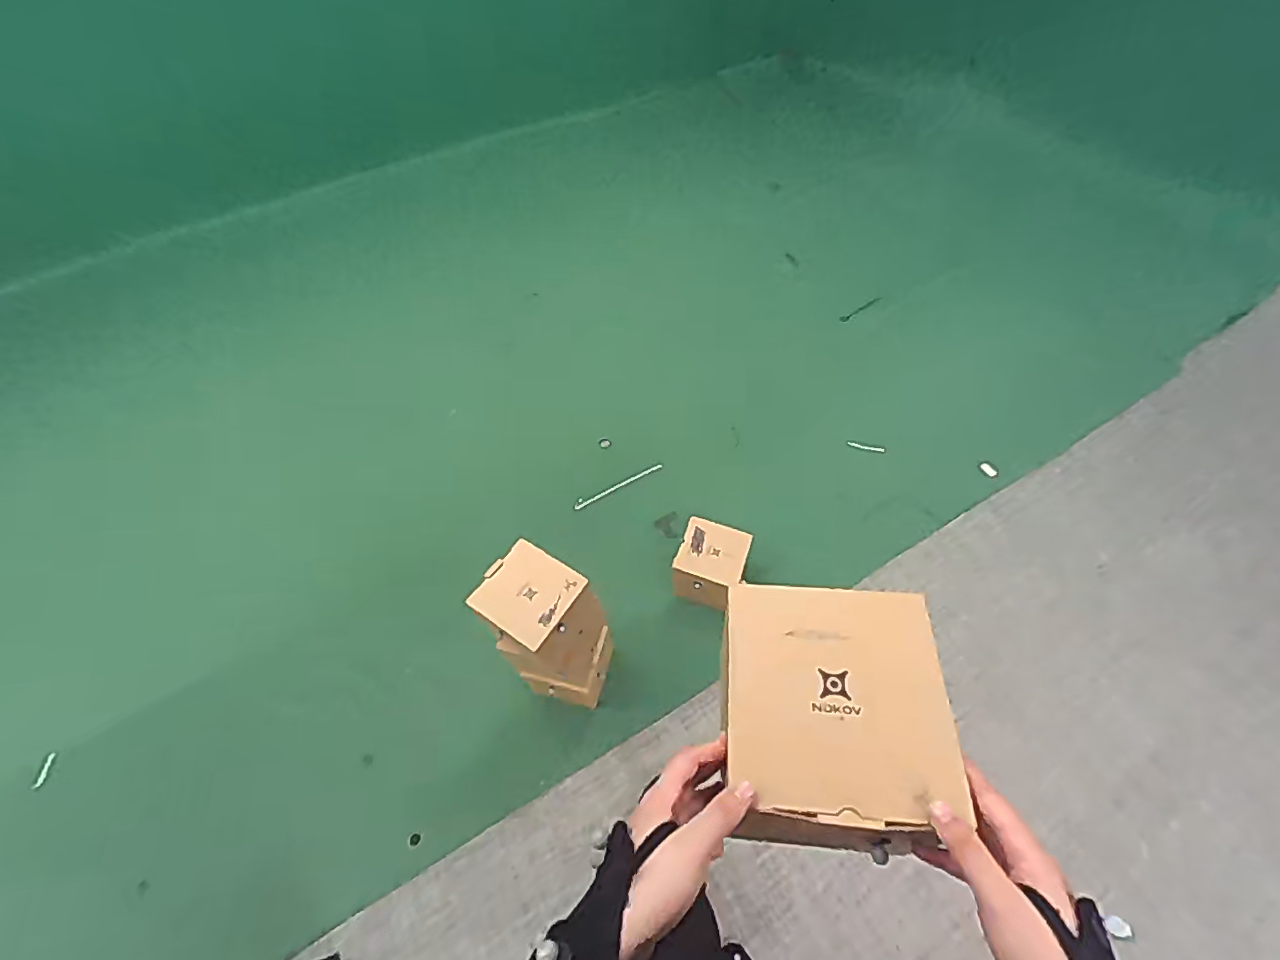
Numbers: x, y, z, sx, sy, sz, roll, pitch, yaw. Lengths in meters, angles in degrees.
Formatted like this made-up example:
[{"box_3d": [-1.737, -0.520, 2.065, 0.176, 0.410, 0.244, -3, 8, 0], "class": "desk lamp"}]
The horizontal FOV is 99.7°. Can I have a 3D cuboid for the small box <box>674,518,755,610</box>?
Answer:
[{"box_3d": [0.198, 0.233, 1.471, 0.179, 0.176, 0.168, 17, 58, 13], "class": "small box"}]

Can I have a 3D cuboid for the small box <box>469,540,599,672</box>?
[{"box_3d": [-0.203, 0.257, 1.082, 0.179, 0.176, 0.168, 28, 62, 20], "class": "small box"}]

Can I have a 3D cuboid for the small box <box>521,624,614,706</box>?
[{"box_3d": [-0.170, 0.451, 1.347, 0.179, 0.176, 0.168, 11, 57, 11], "class": "small box"}]
